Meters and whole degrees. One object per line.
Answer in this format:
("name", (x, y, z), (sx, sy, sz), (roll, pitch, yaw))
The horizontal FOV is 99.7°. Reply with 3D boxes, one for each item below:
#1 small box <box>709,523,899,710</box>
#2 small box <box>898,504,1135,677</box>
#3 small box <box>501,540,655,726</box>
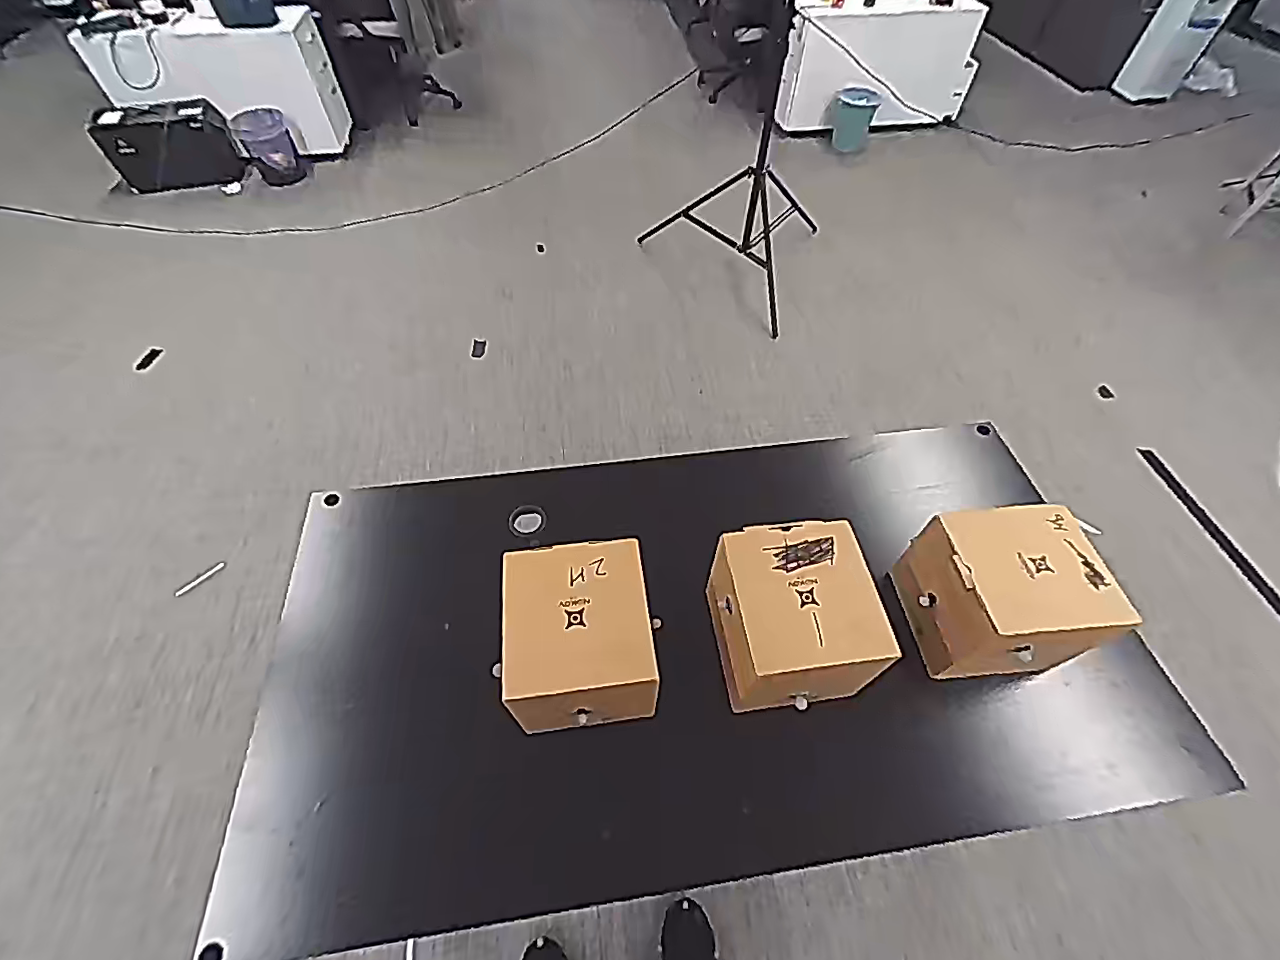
("small box", (0.190, 0.177, 0.694), (0.168, 0.176, 0.179), (-6, 55, -5))
("small box", (0.469, 0.151, 0.717), (0.179, 0.176, 0.168), (-5, 54, -2))
("small box", (-0.073, 0.197, 0.676), (0.168, 0.176, 0.179), (-6, 54, -5))
